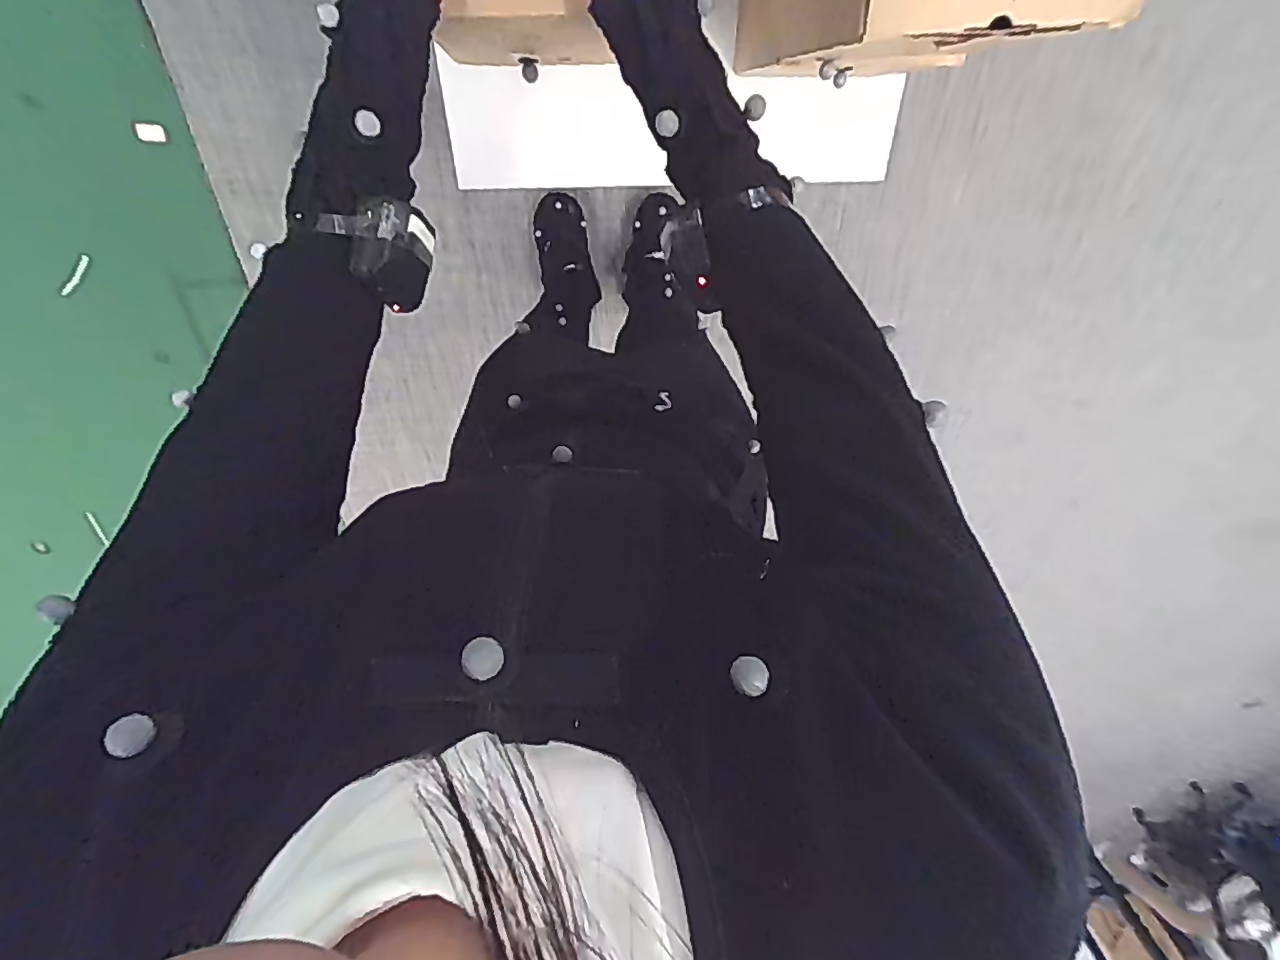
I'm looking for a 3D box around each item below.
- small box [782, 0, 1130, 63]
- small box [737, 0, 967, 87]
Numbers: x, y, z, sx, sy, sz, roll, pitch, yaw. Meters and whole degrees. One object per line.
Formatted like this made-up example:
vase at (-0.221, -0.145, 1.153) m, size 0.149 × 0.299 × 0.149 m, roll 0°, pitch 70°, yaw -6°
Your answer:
small box at (0.195, -0.377, 0.339) m, size 0.168 × 0.176 × 0.179 m, roll -5°, pitch 124°, yaw -2°
small box at (0.188, -0.463, 0.478) m, size 0.168 × 0.176 × 0.179 m, roll -3°, pitch 124°, yaw -3°
